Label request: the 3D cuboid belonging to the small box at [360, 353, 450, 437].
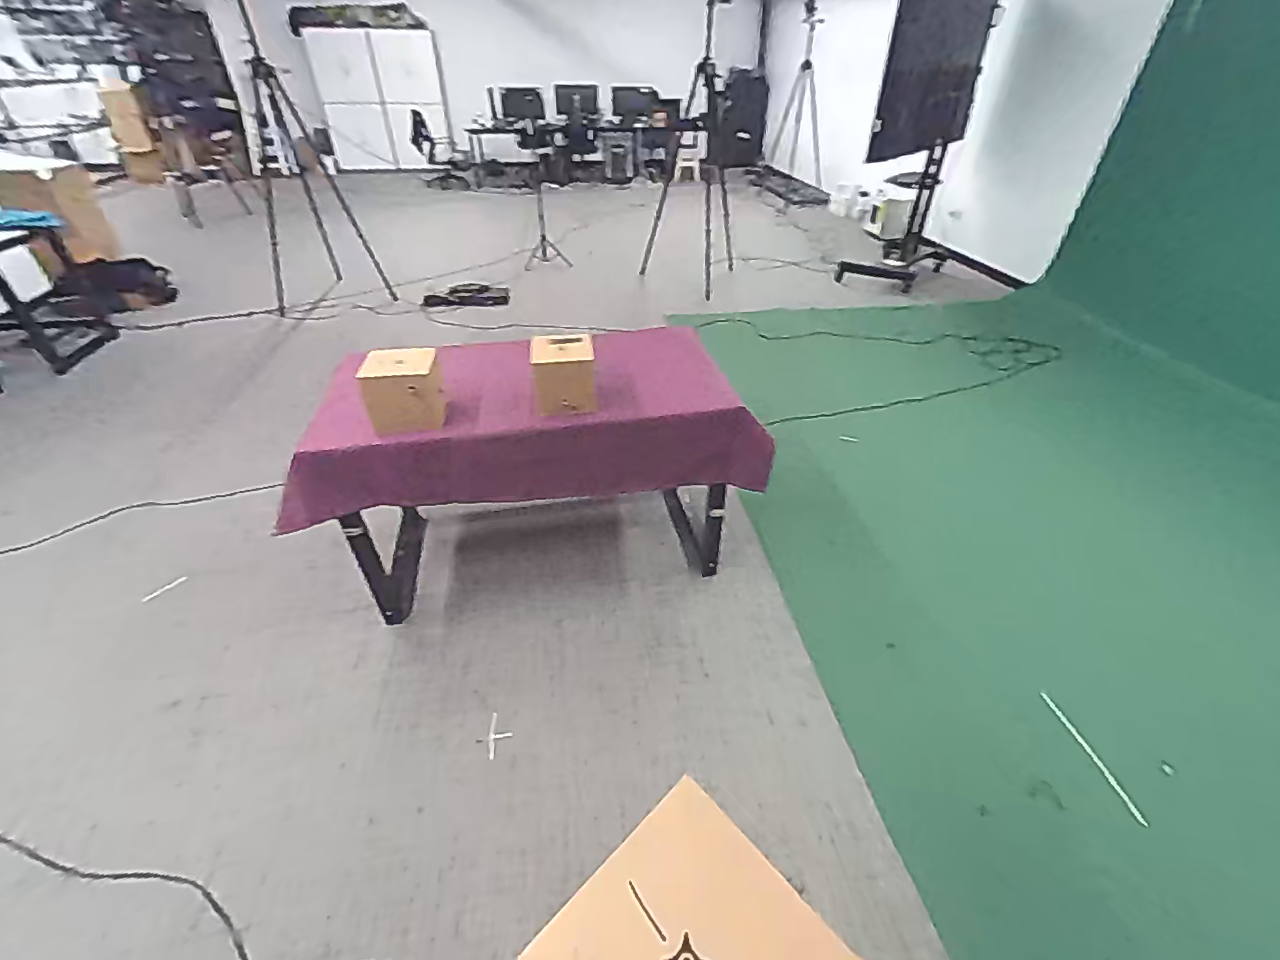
[{"bbox_3d":[-0.627,-0.231,1.472,0.179,0.176,0.168,-6,37,-7],"label":"small box"}]
